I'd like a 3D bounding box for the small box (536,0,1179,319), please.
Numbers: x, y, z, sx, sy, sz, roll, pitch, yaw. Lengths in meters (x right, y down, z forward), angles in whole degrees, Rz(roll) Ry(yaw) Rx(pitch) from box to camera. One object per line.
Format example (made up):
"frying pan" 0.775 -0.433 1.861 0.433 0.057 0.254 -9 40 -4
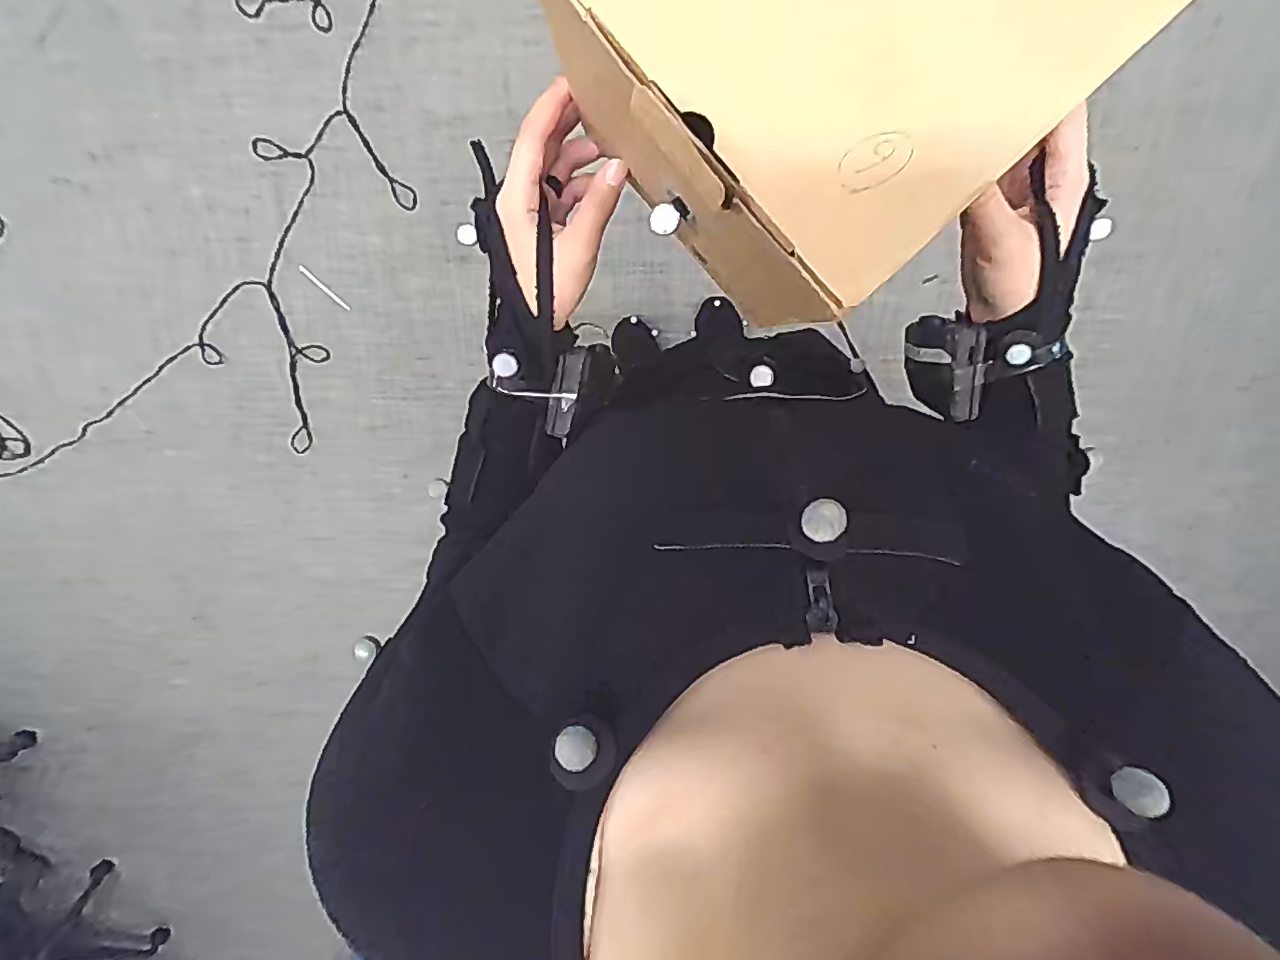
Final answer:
"small box" 0.082 -0.195 0.261 0.179 0.176 0.168 -44 99 12
